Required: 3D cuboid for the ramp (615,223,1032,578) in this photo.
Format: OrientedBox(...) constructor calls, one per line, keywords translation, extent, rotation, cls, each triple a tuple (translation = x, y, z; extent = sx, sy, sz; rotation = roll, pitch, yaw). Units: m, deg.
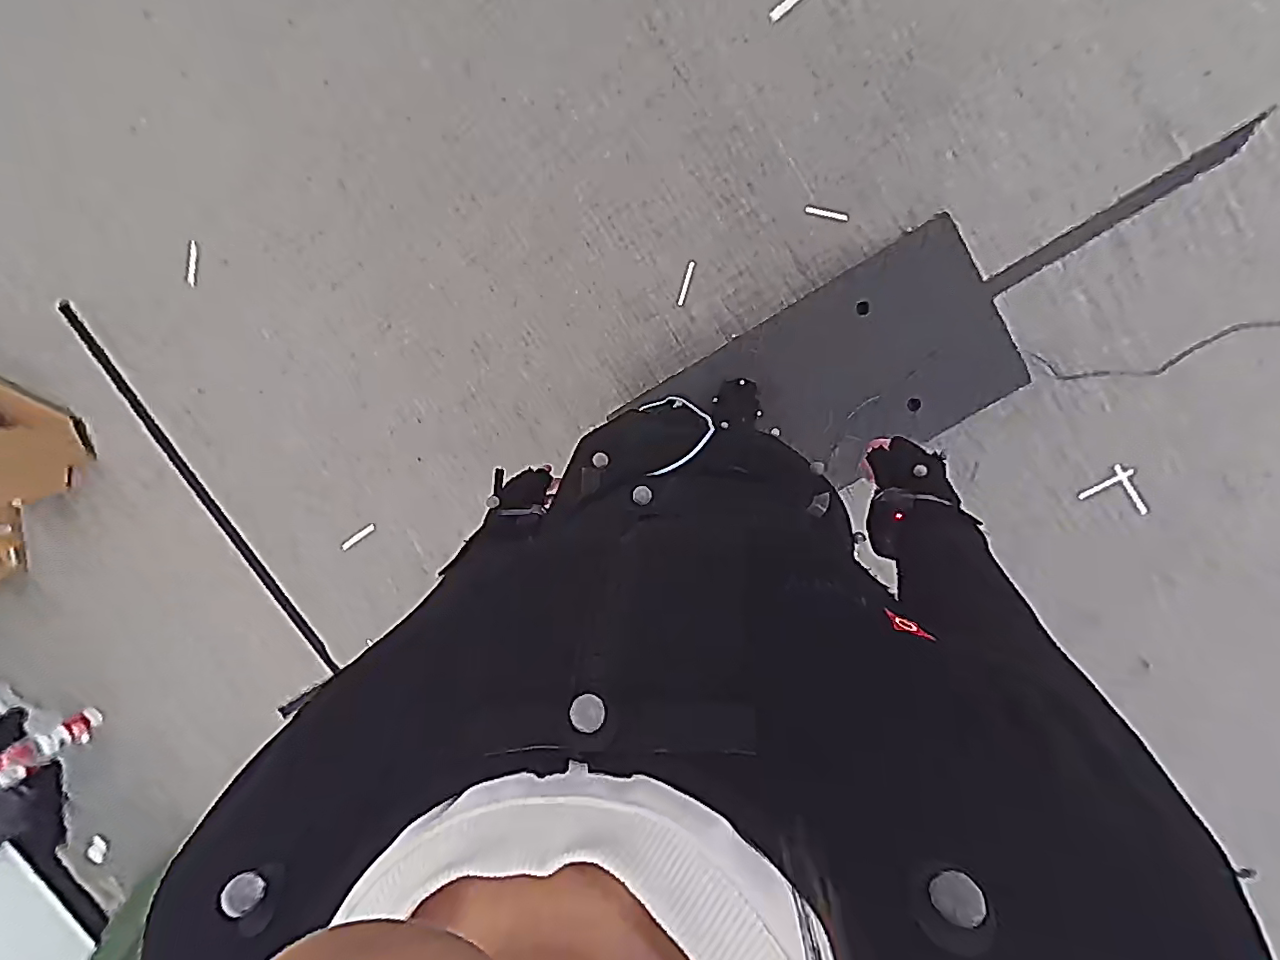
OrientedBox(translation=(0.473, -0.198, 1.423), extent=(0.991, 0.206, 0.509), rotation=(-33, 92, 14), cls="ramp")
